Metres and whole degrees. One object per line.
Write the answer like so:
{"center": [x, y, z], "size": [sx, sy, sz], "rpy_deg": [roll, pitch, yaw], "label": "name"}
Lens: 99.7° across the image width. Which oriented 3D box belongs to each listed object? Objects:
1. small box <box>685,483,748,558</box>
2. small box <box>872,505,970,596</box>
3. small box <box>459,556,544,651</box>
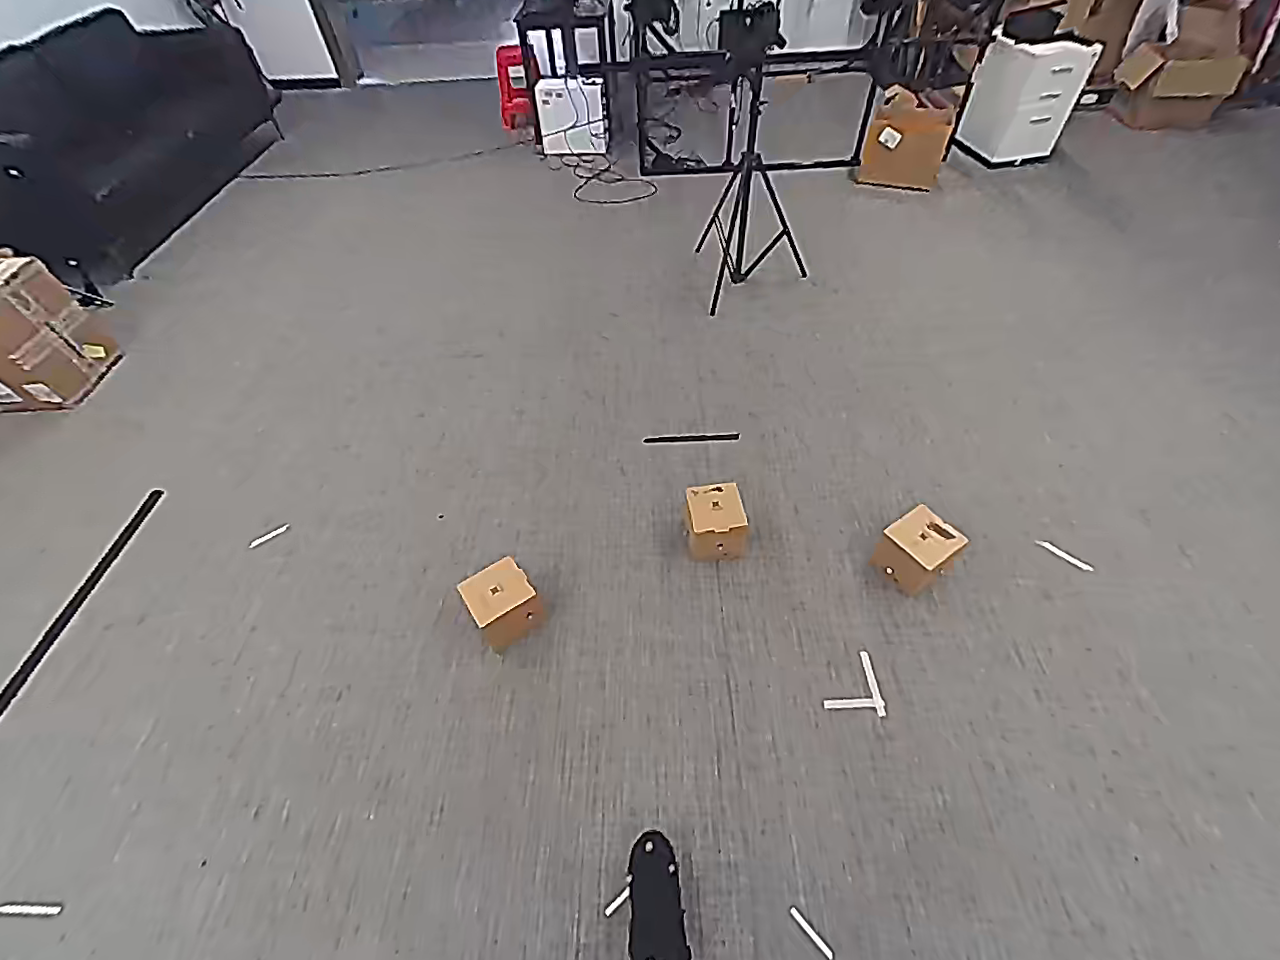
{"center": [0.237, 0.135, 1.718], "size": [0.168, 0.176, 0.179], "rpy_deg": [-7, 51, -3], "label": "small box"}
{"center": [0.830, 0.213, 1.617], "size": [0.179, 0.176, 0.168], "rpy_deg": [-29, 54, -18], "label": "small box"}
{"center": [-0.394, 0.360, 1.572], "size": [0.179, 0.176, 0.168], "rpy_deg": [-31, 54, -19], "label": "small box"}
